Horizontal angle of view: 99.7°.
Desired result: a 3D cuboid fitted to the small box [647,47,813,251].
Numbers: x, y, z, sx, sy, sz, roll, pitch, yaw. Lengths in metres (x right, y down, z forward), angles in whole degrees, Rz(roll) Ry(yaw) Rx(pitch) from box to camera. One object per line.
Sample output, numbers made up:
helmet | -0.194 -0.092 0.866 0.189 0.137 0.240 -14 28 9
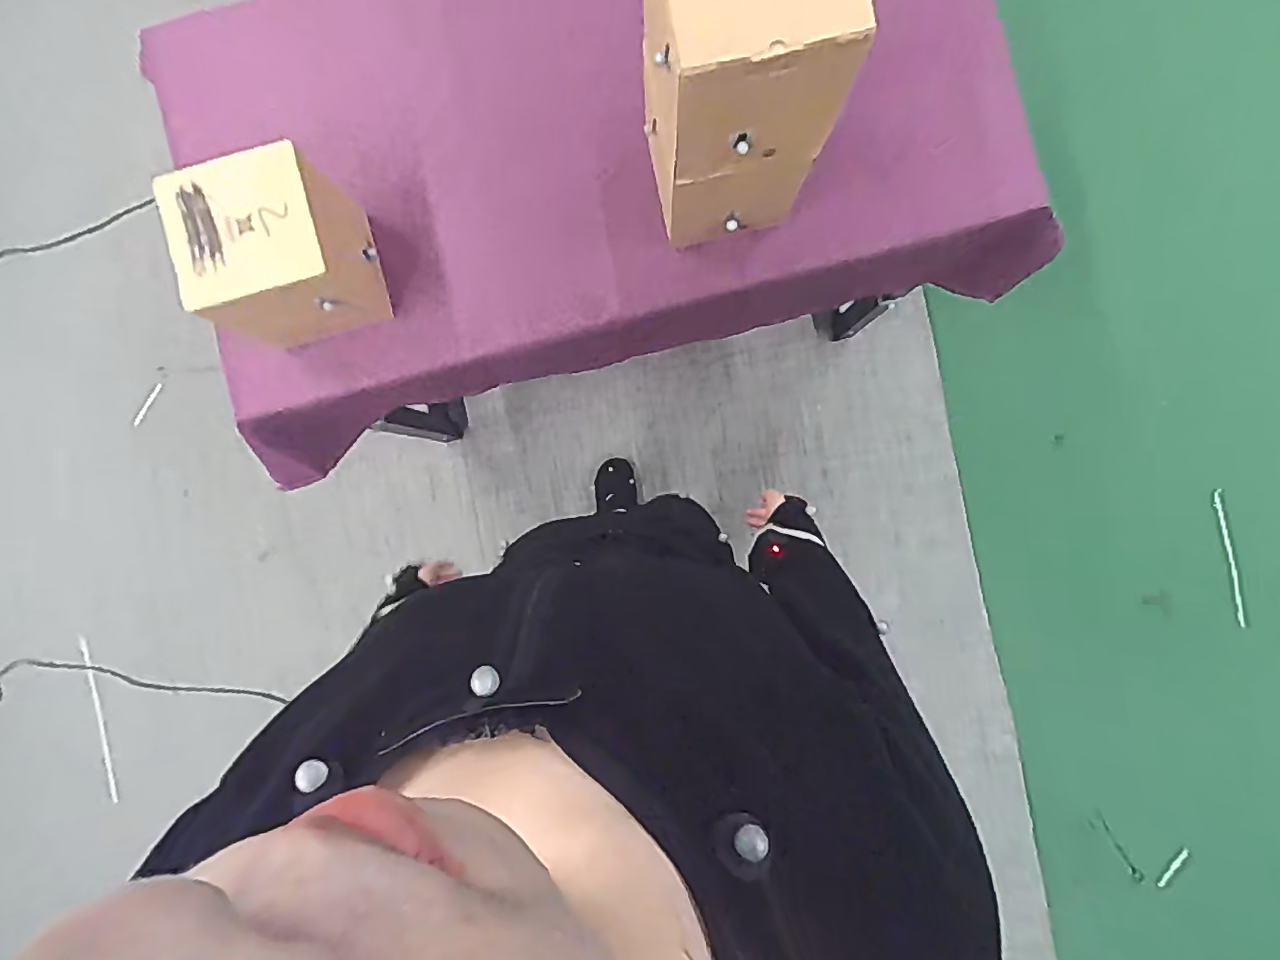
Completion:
small box | 0.103 -0.426 0.694 0.168 0.176 0.179 -11 89 2

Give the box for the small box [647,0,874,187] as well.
small box | 0.100 -0.429 0.531 0.168 0.176 0.179 -11 90 1
